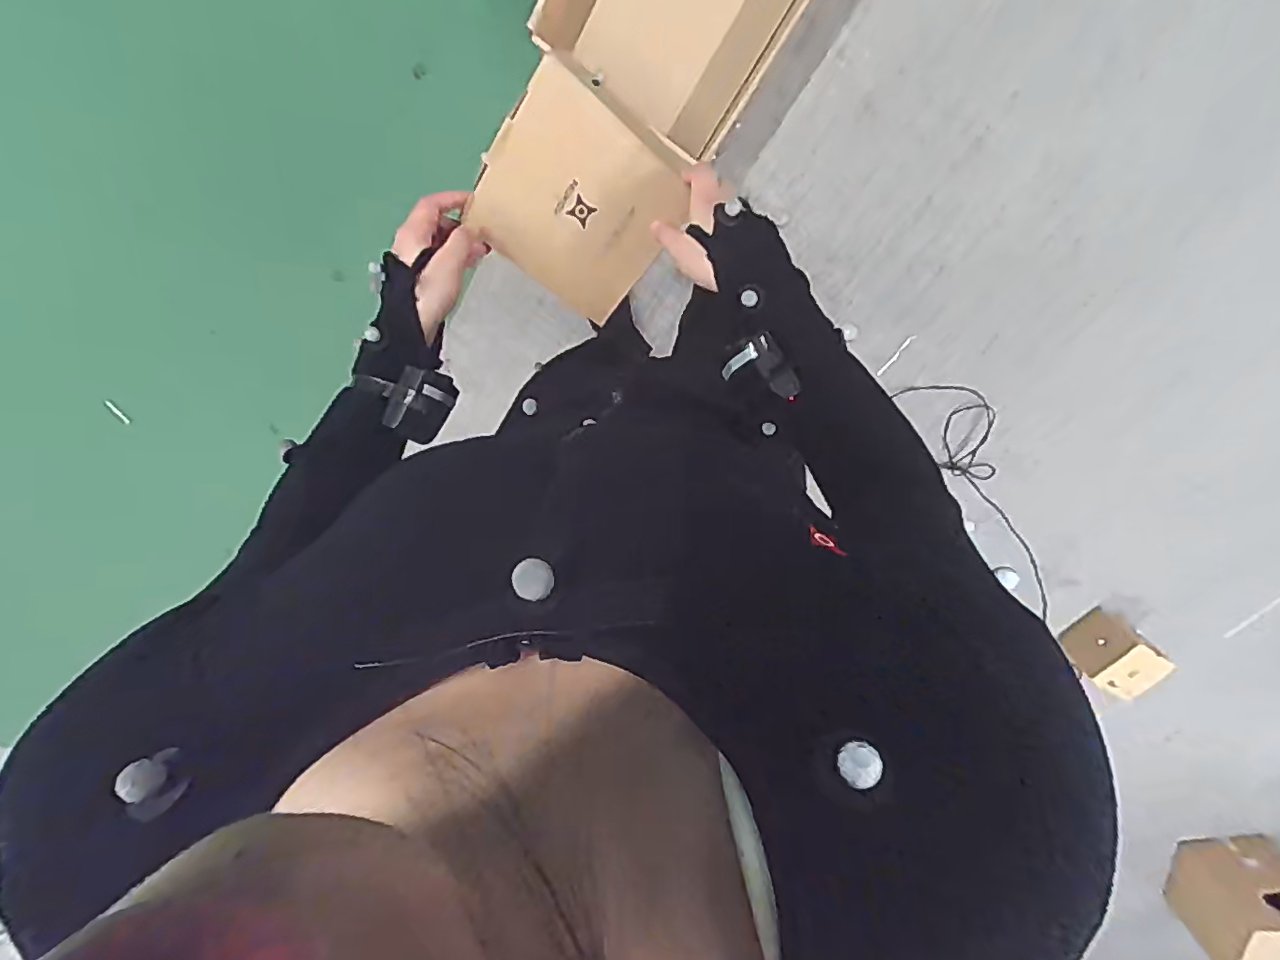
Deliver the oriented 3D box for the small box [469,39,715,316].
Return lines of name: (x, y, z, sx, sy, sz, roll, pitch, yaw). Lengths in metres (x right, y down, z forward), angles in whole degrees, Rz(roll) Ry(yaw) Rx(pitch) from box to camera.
small box: (-0.048, -0.313, 0.567, 0.179, 0.176, 0.168, 30, 123, -24)

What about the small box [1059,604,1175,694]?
small box: (1.474, 0.520, 1.685, 0.168, 0.176, 0.179, 28, 113, -11)
